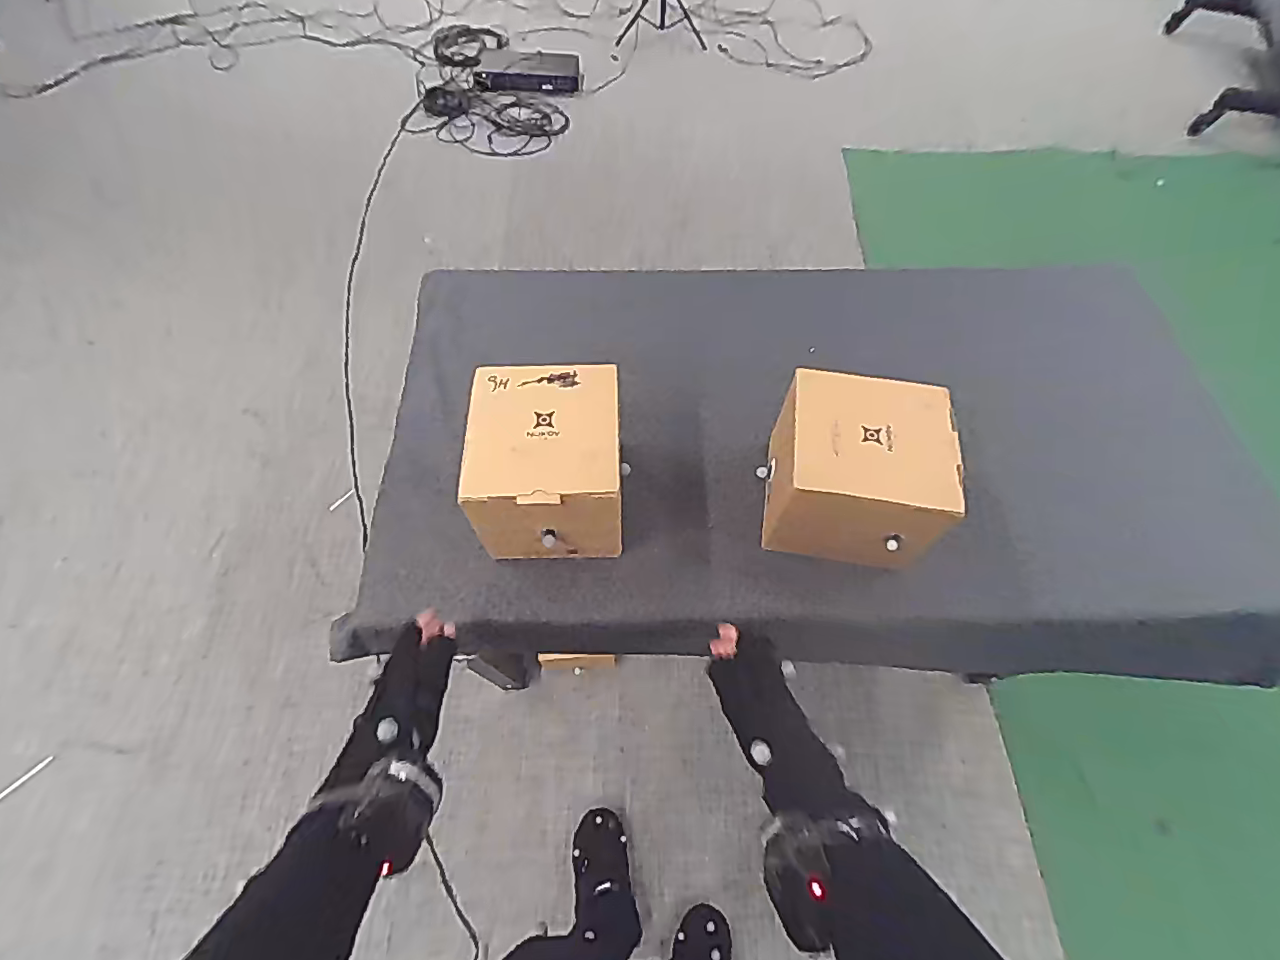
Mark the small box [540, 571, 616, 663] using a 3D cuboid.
[{"bbox_3d":[-0.144,0.332,1.297,0.168,0.176,0.179,-3,63,-2],"label":"small box"}]

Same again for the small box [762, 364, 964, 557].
[{"bbox_3d":[0.258,-0.016,0.664,0.179,0.176,0.168,7,61,4],"label":"small box"}]

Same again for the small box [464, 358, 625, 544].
[{"bbox_3d":[-0.102,-0.026,0.661,0.168,0.176,0.179,-1,61,-2],"label":"small box"}]
